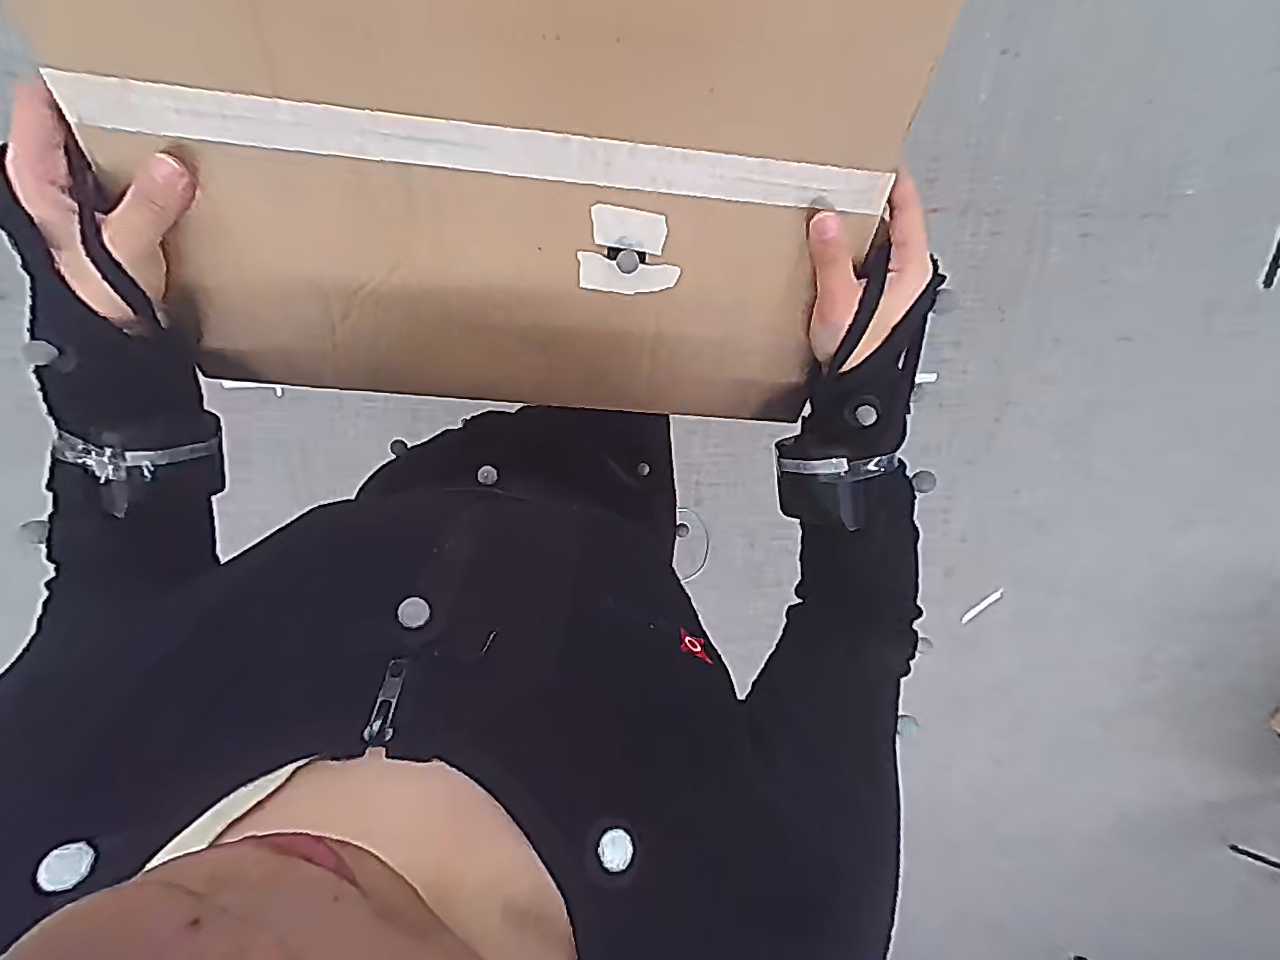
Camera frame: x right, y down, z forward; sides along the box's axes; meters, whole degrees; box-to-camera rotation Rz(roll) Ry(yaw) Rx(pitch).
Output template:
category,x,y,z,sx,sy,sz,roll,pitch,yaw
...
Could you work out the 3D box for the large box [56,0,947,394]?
category,x,y,z,sx,sy,sz,roll,pitch,yaw
large box,-0.072,-0.282,0.387,0.408,0.320,0.320,2,135,-7
